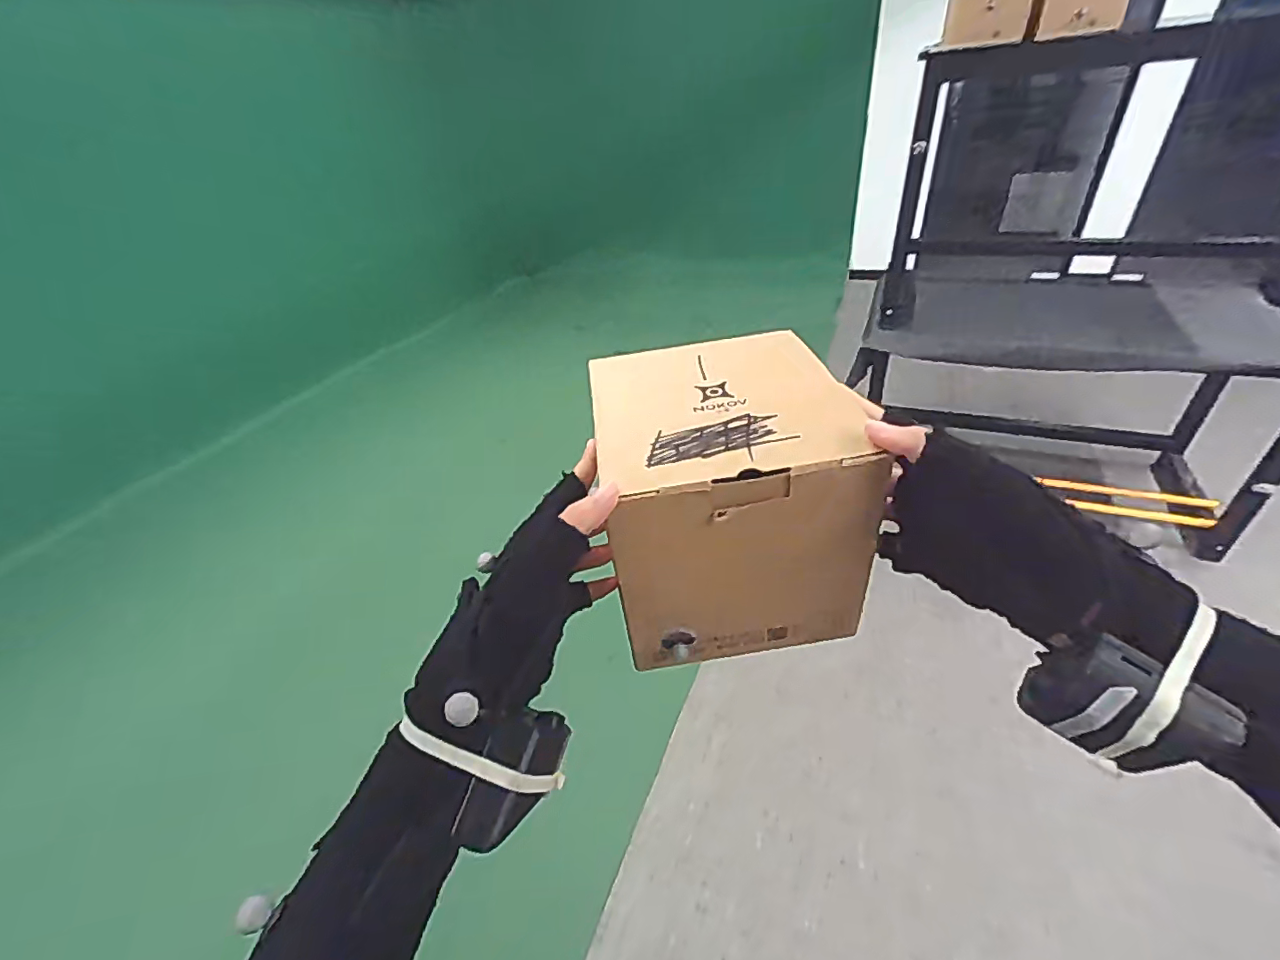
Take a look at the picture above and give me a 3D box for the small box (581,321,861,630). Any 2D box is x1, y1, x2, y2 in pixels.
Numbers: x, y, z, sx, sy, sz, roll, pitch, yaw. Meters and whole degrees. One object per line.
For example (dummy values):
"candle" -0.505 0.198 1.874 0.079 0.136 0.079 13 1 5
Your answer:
"small box" 0.050 -0.002 0.420 0.168 0.176 0.179 -9 37 -1

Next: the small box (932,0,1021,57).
"small box" 0.866 -1.202 1.387 0.168 0.176 0.179 6 39 16
